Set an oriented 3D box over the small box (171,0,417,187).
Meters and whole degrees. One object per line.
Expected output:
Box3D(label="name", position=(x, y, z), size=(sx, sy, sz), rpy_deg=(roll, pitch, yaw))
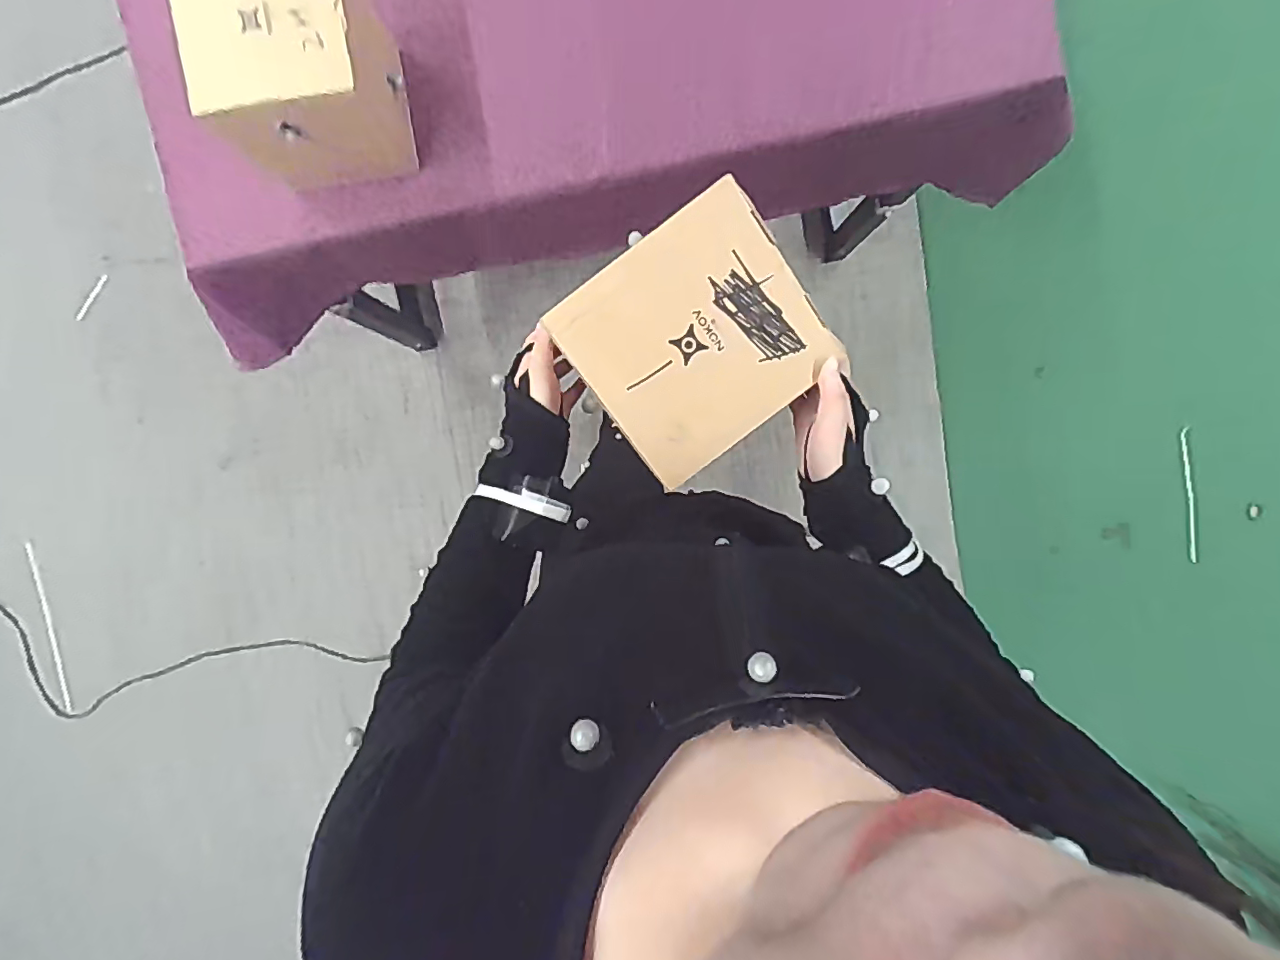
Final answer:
Box3D(label="small box", position=(-0.392, -0.474, 0.638), size=(0.179, 0.176, 0.168), rpy_deg=(-9, 93, 0))
